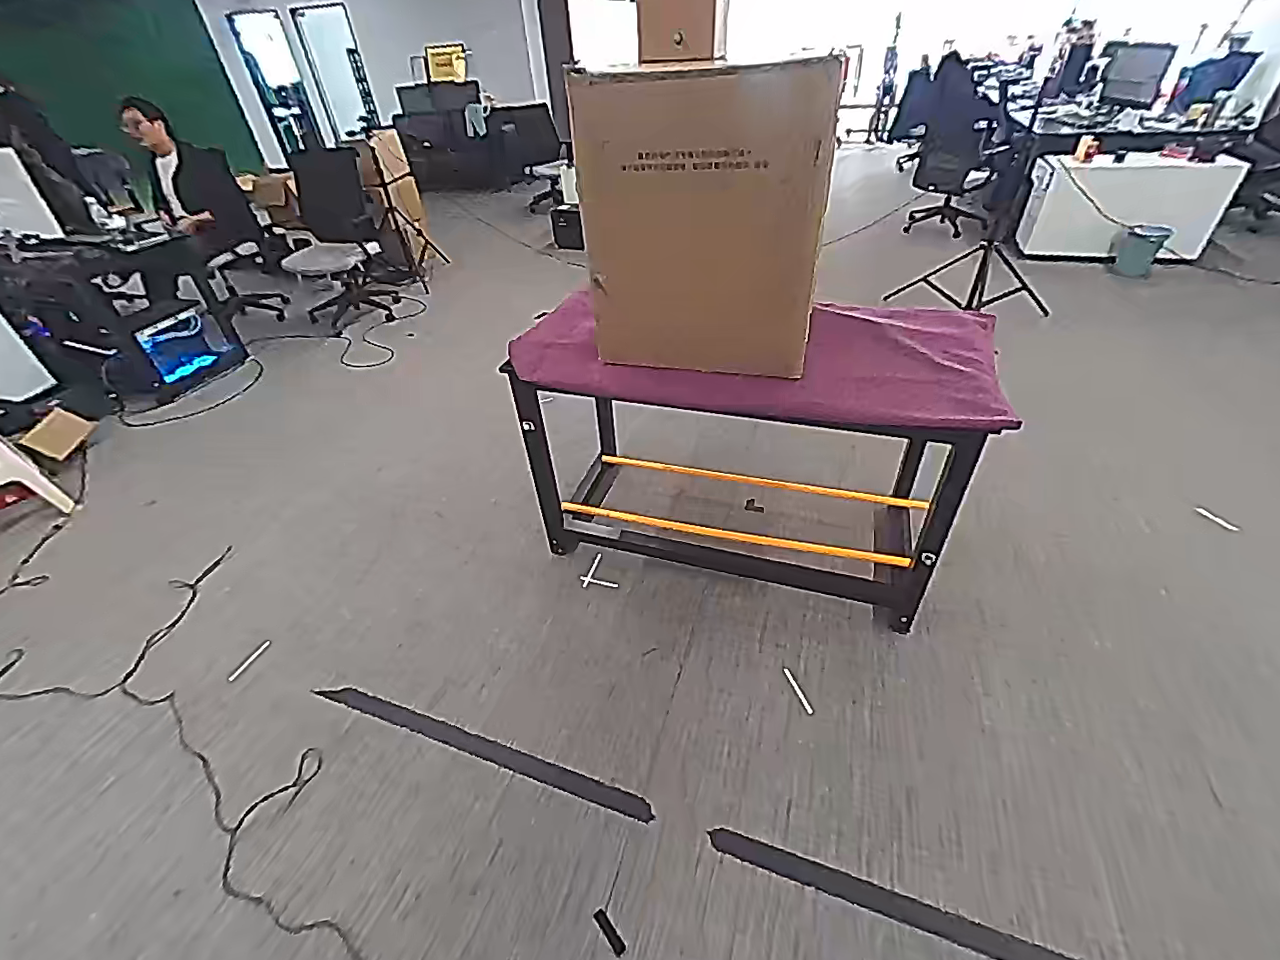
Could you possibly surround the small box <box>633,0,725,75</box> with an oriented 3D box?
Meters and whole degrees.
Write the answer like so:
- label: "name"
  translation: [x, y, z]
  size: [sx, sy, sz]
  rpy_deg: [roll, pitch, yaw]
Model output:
- label: "small box"
  translation: [0.089, -1.007, 1.195]
  size: [0.179, 0.176, 0.168]
  rpy_deg: [9, 41, 16]
